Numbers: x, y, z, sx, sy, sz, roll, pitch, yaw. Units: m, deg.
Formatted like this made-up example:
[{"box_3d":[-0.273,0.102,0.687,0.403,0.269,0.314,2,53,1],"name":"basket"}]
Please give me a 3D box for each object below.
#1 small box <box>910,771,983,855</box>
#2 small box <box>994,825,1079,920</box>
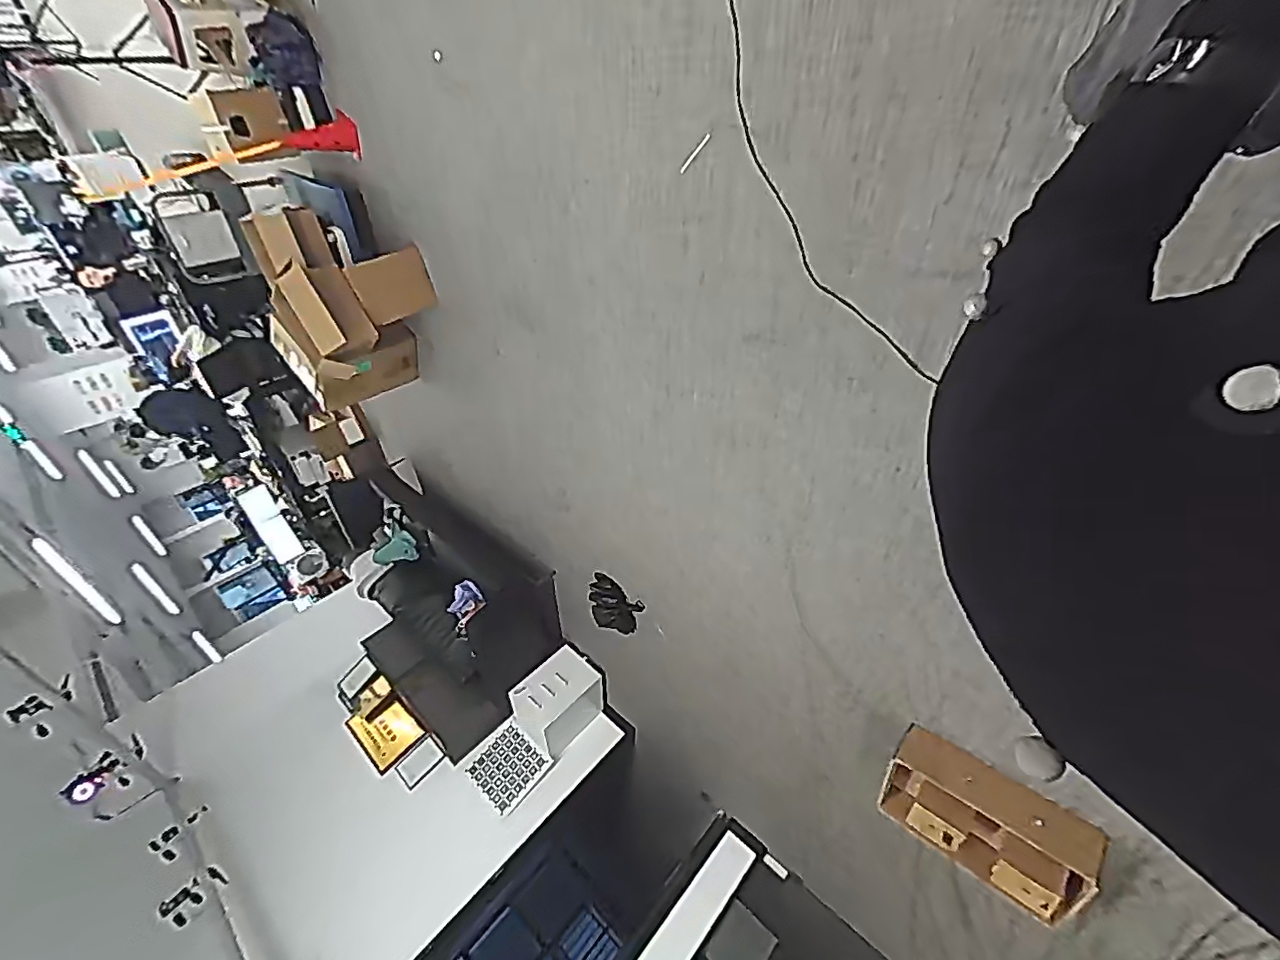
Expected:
[{"box_3d":[1.132,1.220,1.993,0.179,0.176,0.168,25,135,35],"name":"small box"},{"box_3d":[1.338,1.311,1.824,0.179,0.176,0.168,23,135,40],"name":"small box"}]
